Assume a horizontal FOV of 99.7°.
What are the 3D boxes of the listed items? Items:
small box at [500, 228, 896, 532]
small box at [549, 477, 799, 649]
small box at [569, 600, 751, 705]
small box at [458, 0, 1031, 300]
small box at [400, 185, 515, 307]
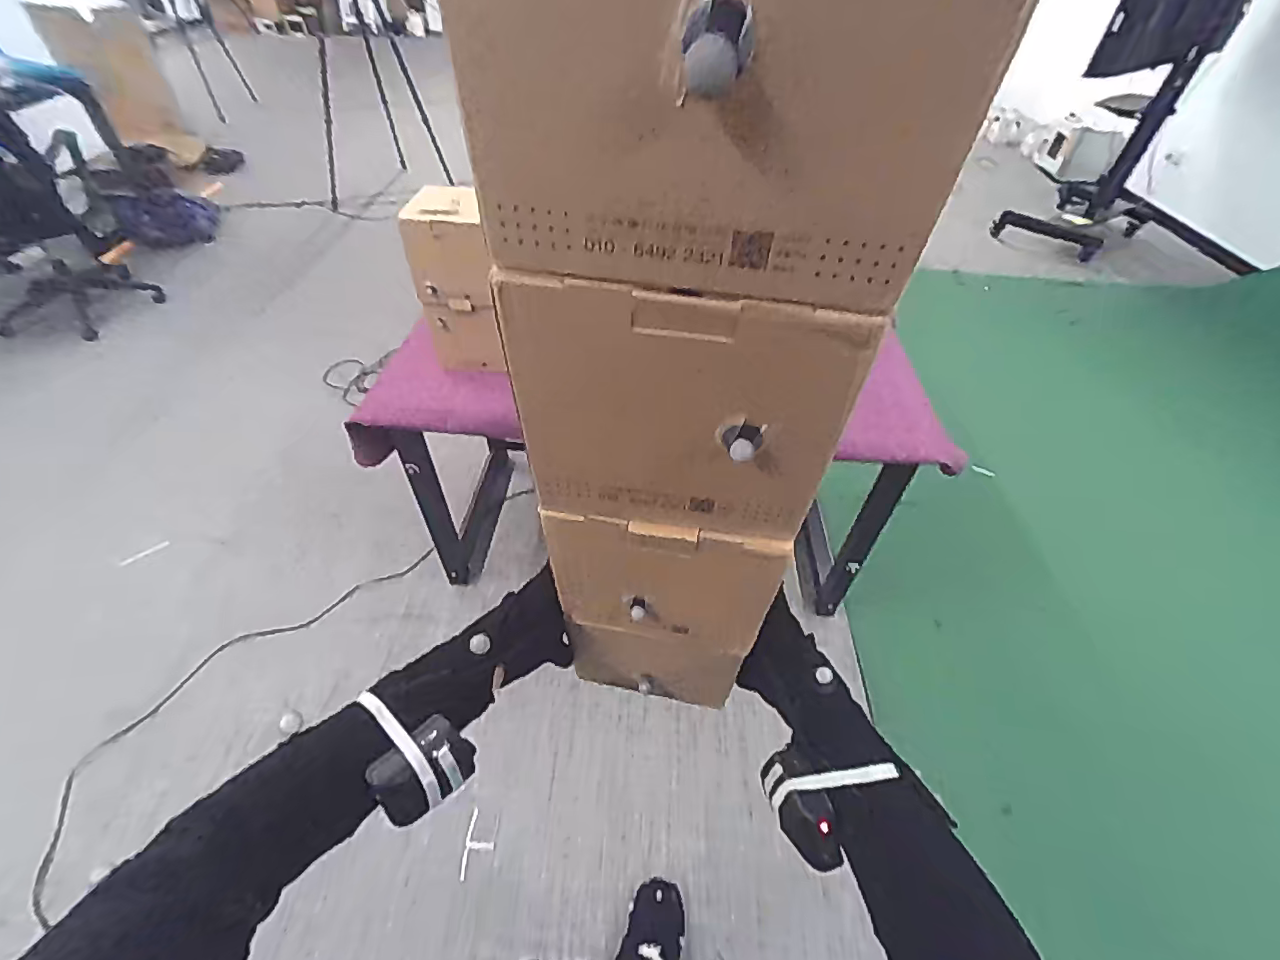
[{"bbox_3d":[0.033,-0.088,0.331,0.168,0.176,0.179,8,52,4],"label":"small box"},{"bbox_3d":[0.032,0.017,0.456,0.168,0.176,0.179,9,53,6],"label":"small box"},{"bbox_3d":[0.031,0.119,0.585,0.168,0.176,0.179,10,54,7],"label":"small box"},{"bbox_3d":[0.038,-0.192,0.203,0.168,0.176,0.179,9,53,4],"label":"small box"},{"bbox_3d":[-0.352,-0.471,1.092,0.168,0.176,0.179,7,47,0],"label":"small box"}]
